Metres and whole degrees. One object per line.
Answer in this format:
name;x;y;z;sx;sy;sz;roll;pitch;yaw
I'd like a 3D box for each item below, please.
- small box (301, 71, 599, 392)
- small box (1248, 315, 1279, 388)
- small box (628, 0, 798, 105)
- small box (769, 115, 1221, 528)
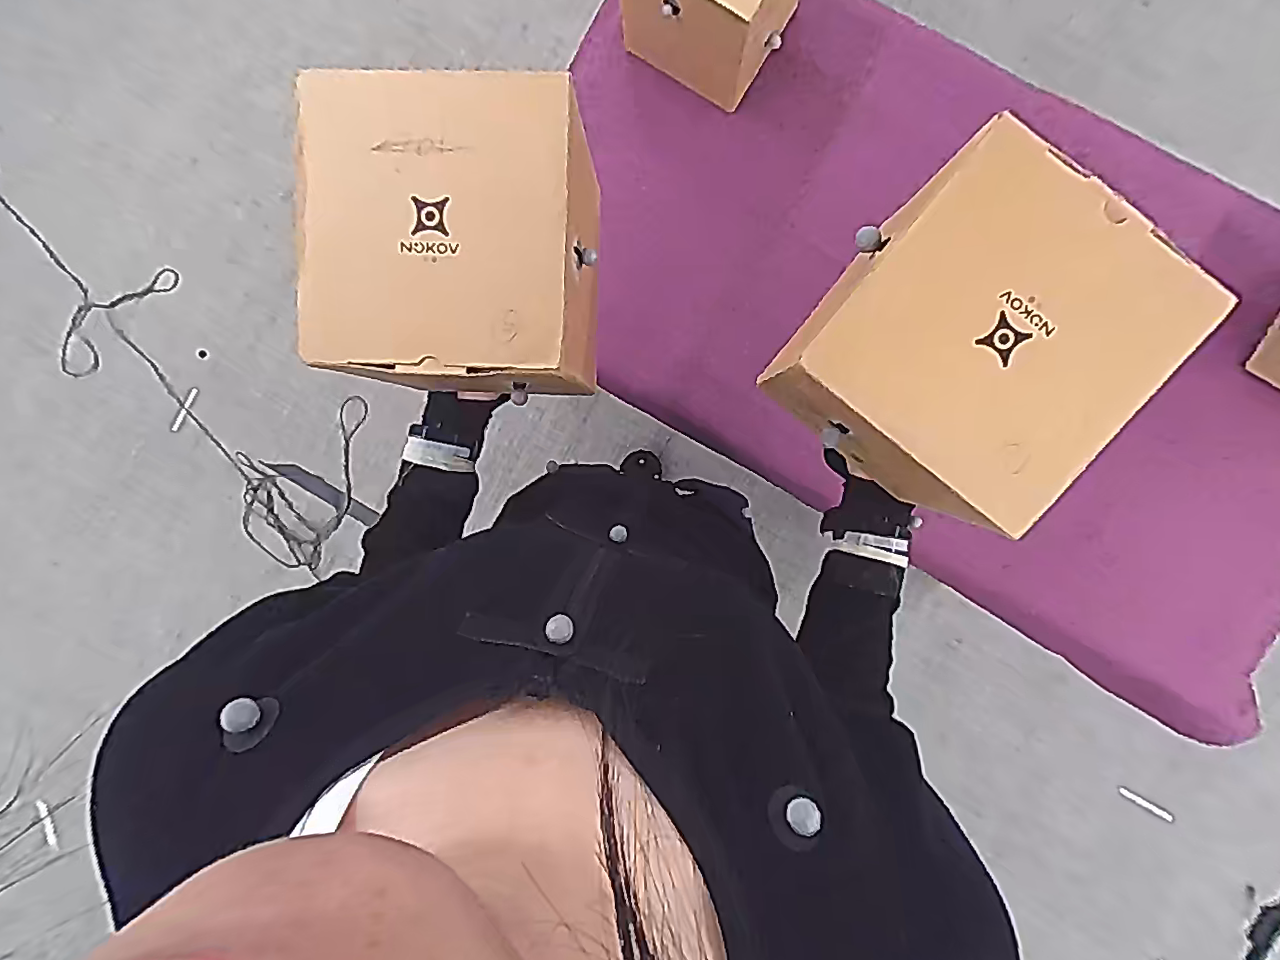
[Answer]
small box;-0.121;-0.161;0.407;0.168;0.176;0.179;2;93;1
small box;0.905;-0.173;0.632;0.179;0.176;0.168;30;94;1
small box;0.093;-0.612;0.658;0.179;0.176;0.168;32;95;0
small box;0.211;-0.092;0.386;0.168;0.176;0.179;39;95;0
